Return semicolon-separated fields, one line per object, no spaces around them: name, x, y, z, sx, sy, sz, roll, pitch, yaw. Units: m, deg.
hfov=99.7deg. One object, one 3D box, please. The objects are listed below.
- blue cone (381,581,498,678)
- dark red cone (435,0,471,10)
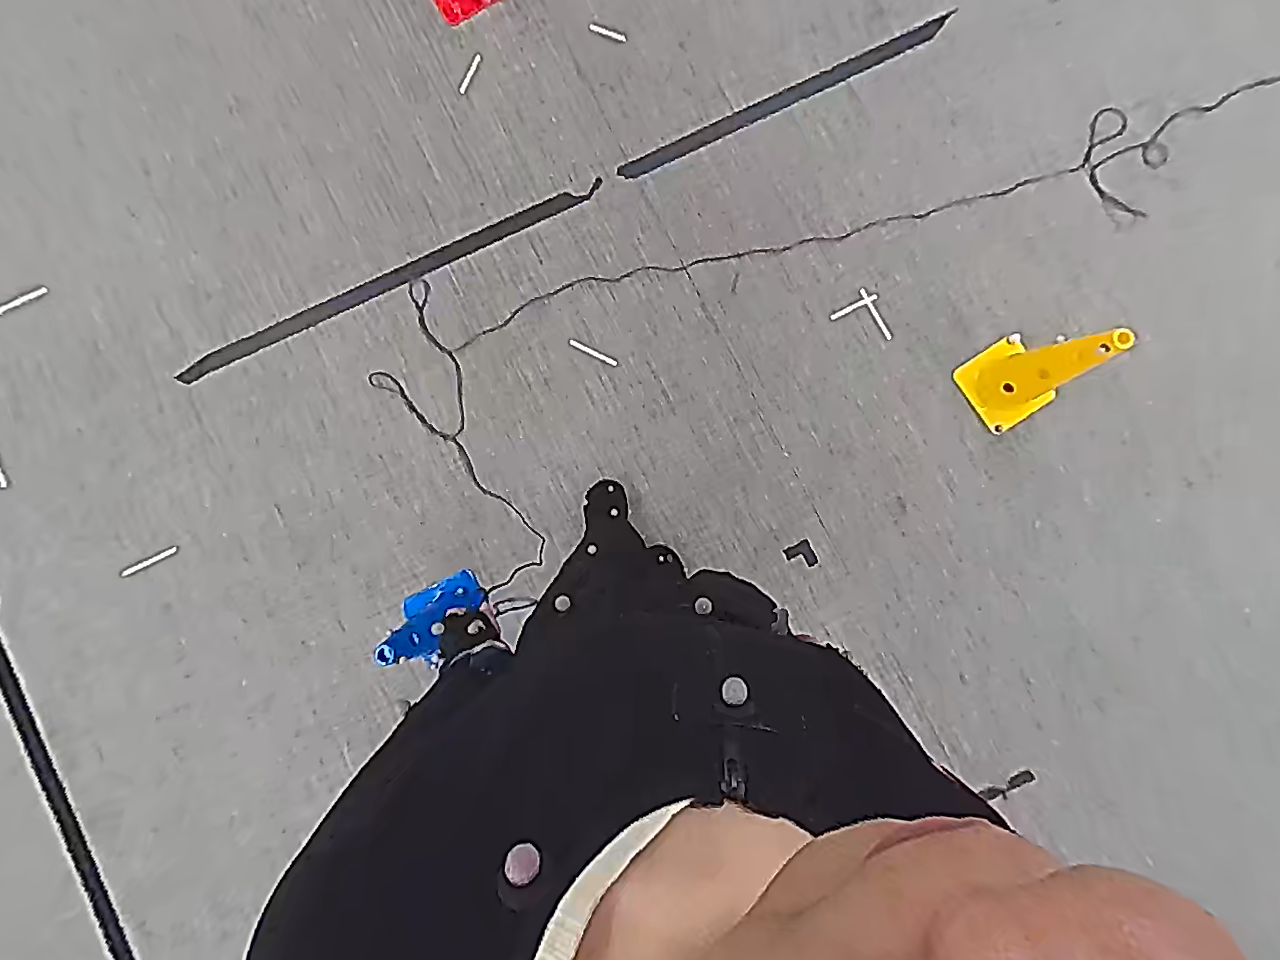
blue cone;-0.473;0.355;1.196;0.193;0.380;0.192;-26;87;-1
dark red cone;-0.498;-1.401;1.305;0.202;0.394;0.201;-34;87;-2
